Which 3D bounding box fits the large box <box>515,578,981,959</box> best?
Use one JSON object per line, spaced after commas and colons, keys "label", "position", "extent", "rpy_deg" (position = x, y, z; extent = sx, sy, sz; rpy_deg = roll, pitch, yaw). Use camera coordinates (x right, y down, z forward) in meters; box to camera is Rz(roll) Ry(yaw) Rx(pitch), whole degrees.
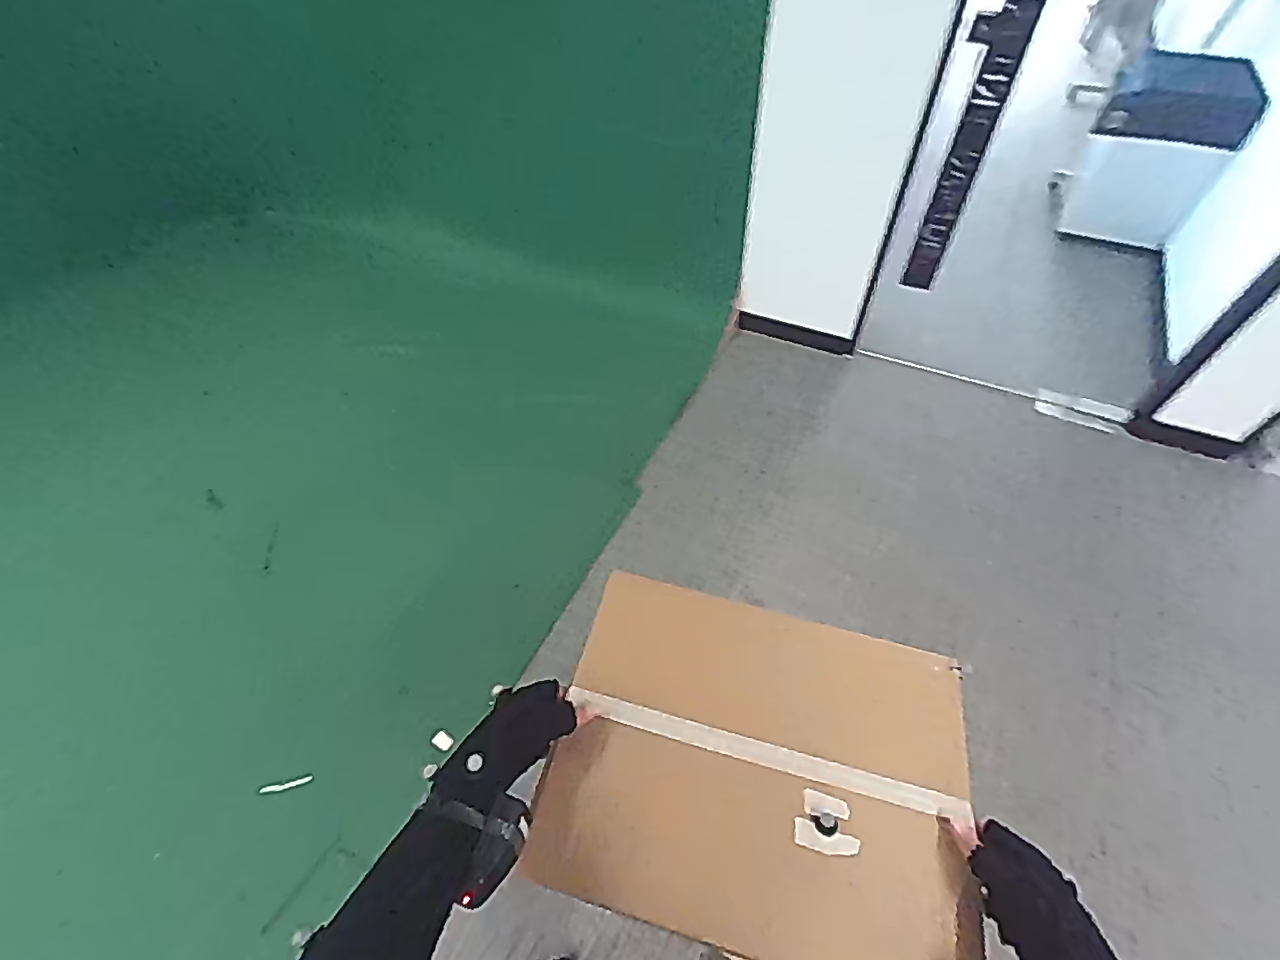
{"label": "large box", "position": [0.109, 0.366, 0.652], "extent": [0.408, 0.320, 0.320], "rpy_deg": [13, 52, 8]}
